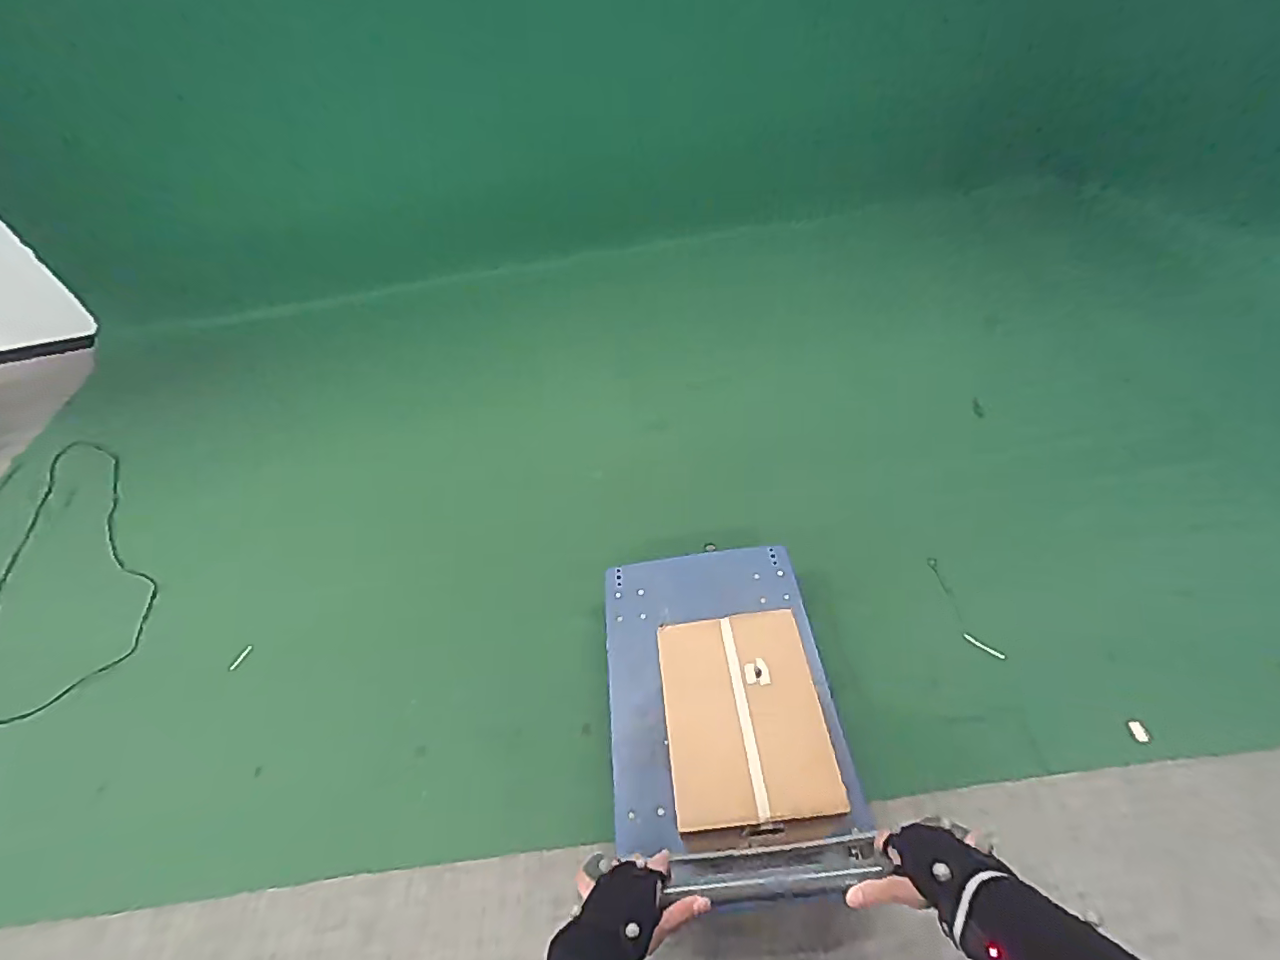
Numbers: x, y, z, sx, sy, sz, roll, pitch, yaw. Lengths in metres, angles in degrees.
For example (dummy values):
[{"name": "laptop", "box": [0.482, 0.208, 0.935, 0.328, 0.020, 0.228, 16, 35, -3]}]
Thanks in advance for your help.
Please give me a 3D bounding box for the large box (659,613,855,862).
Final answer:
[{"name": "large box", "box": [0.232, 0.564, 1.193, 0.320, 0.320, 0.408, -8, 47, 2]}]
